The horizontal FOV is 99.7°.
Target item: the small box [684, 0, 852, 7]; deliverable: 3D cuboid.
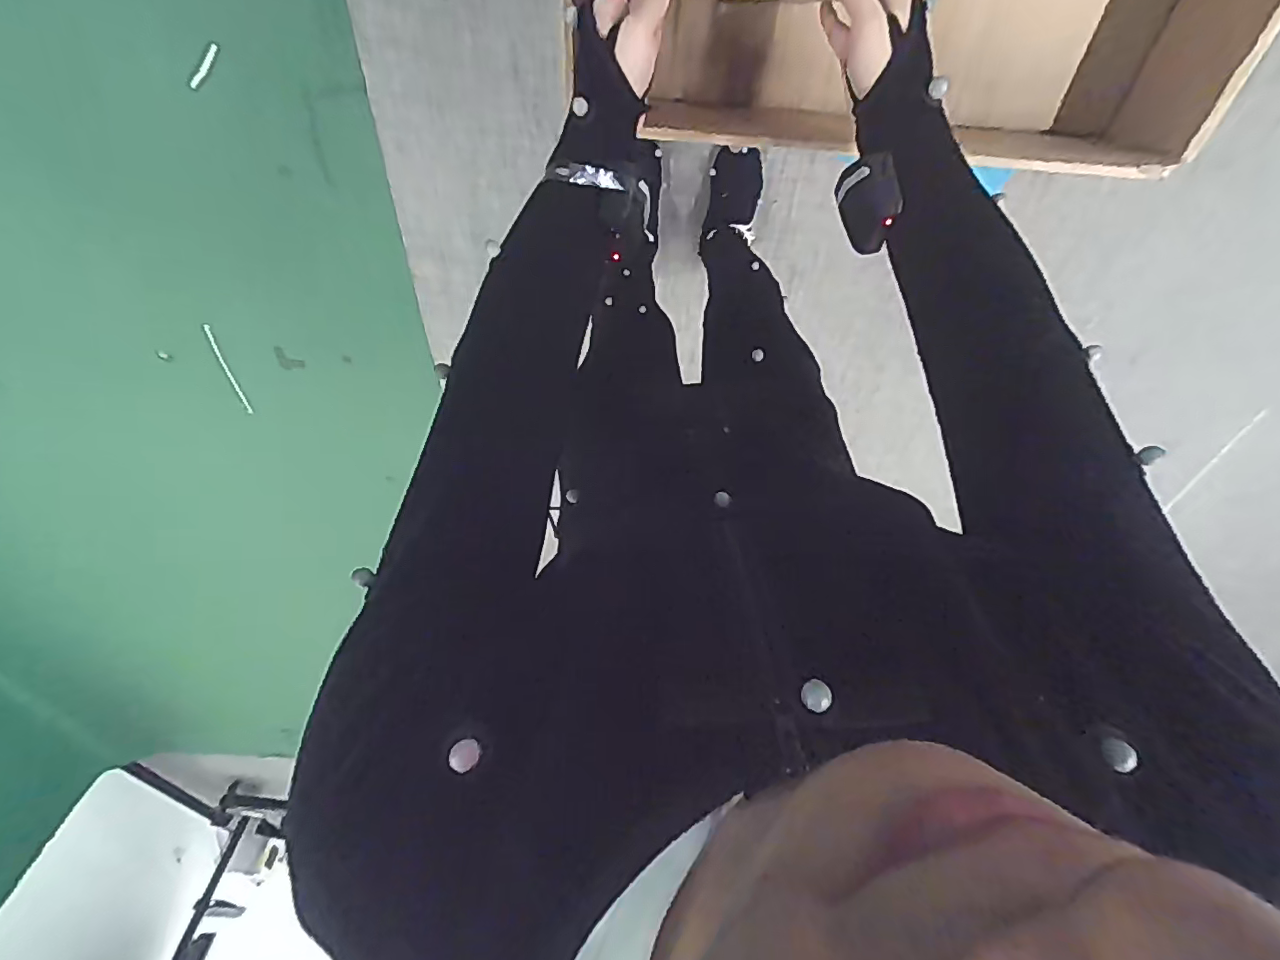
[{"bbox_3d":[0.097,-0.512,0.446,0.168,0.176,0.179,2,132,0],"label":"small box"}]
